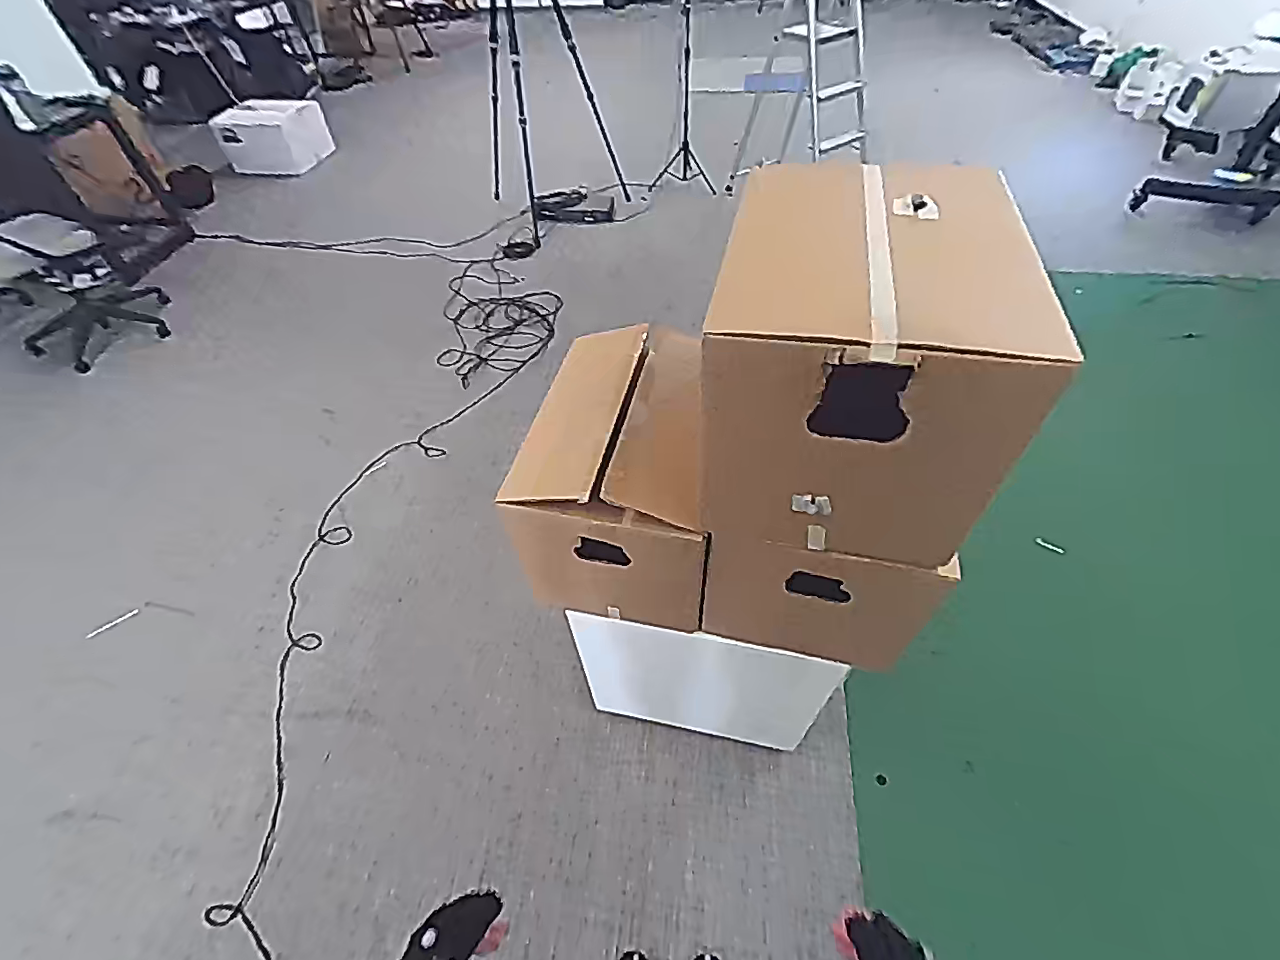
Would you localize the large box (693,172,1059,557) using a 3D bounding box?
[{"bbox_3d":[0.253,-0.159,0.707,0.320,0.320,0.408,8,49,12],"label":"large box"}]
